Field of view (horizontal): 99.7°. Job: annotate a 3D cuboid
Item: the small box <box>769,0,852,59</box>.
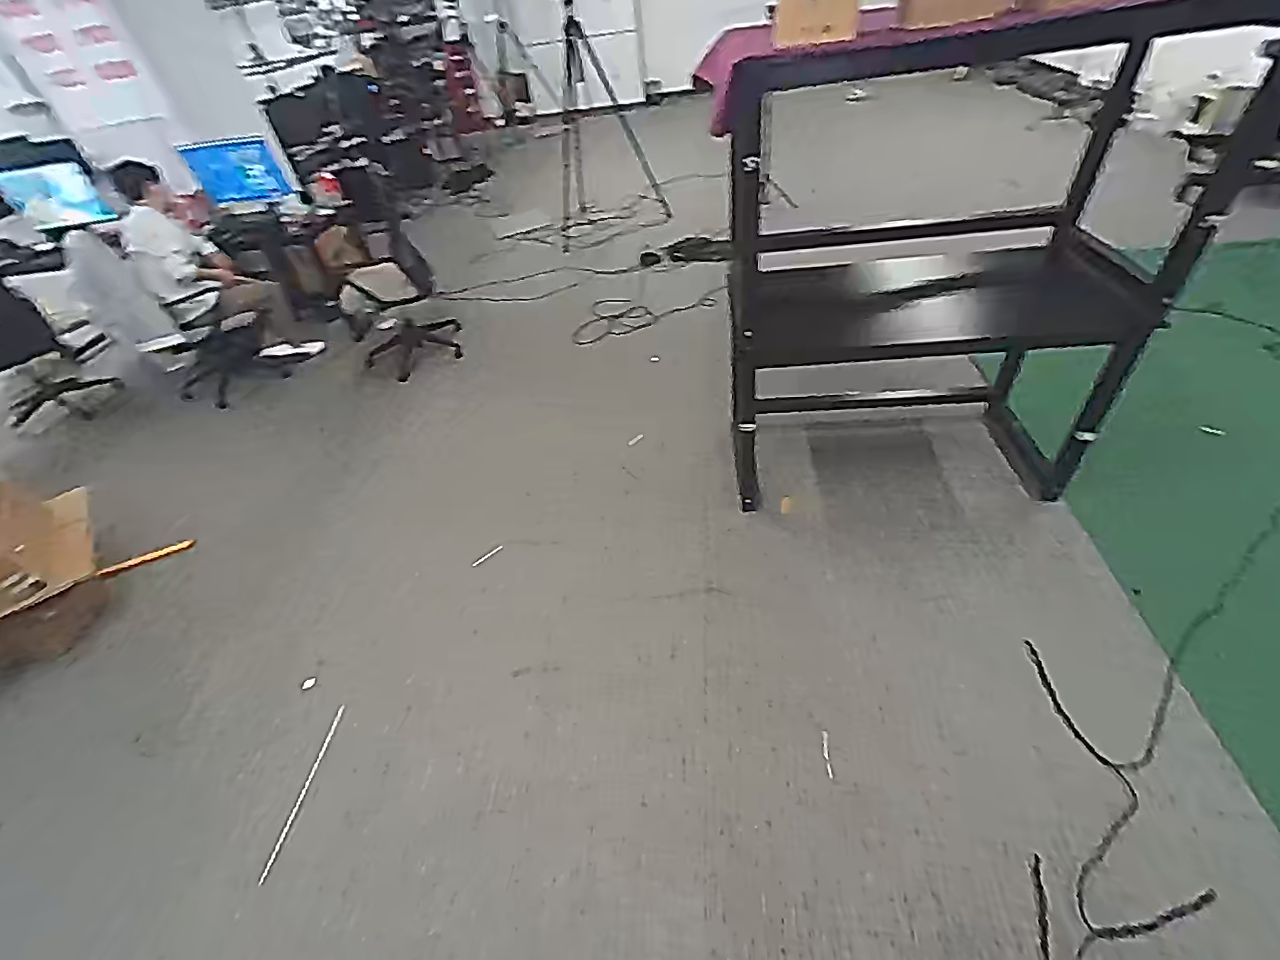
[{"bbox_3d":[0.376,-1.056,1.202,0.168,0.176,0.179,0,42,11],"label":"small box"}]
